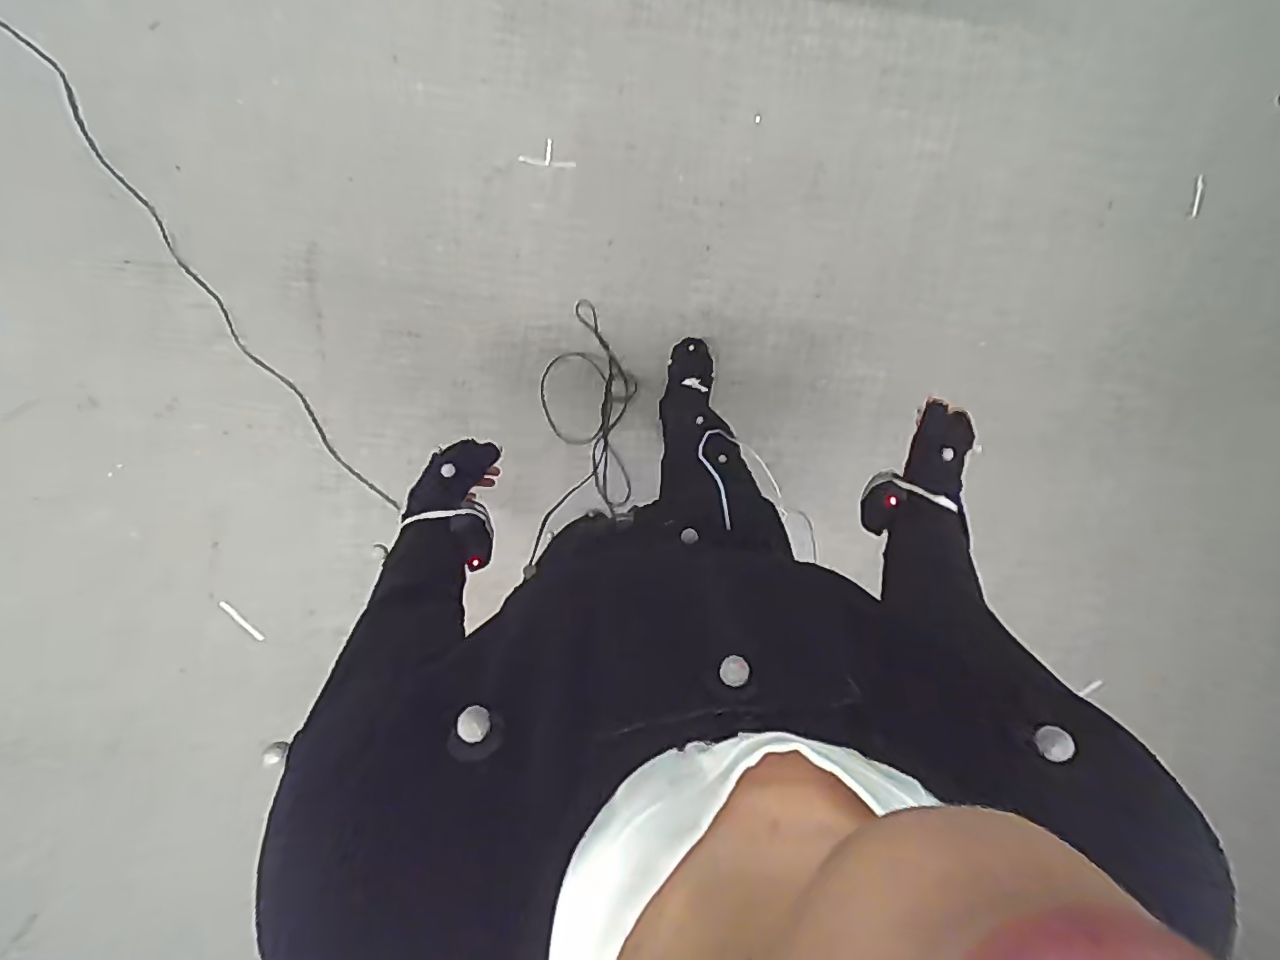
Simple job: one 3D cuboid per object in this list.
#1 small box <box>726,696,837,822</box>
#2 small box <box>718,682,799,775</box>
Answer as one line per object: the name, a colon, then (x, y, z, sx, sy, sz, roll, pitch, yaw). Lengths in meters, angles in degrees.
small box: (0.330, 0.661, 1.302, 0.168, 0.176, 0.179, 33, 94, -8)
small box: (0.310, 0.659, 1.449, 0.179, 0.176, 0.168, -1, 97, -5)
